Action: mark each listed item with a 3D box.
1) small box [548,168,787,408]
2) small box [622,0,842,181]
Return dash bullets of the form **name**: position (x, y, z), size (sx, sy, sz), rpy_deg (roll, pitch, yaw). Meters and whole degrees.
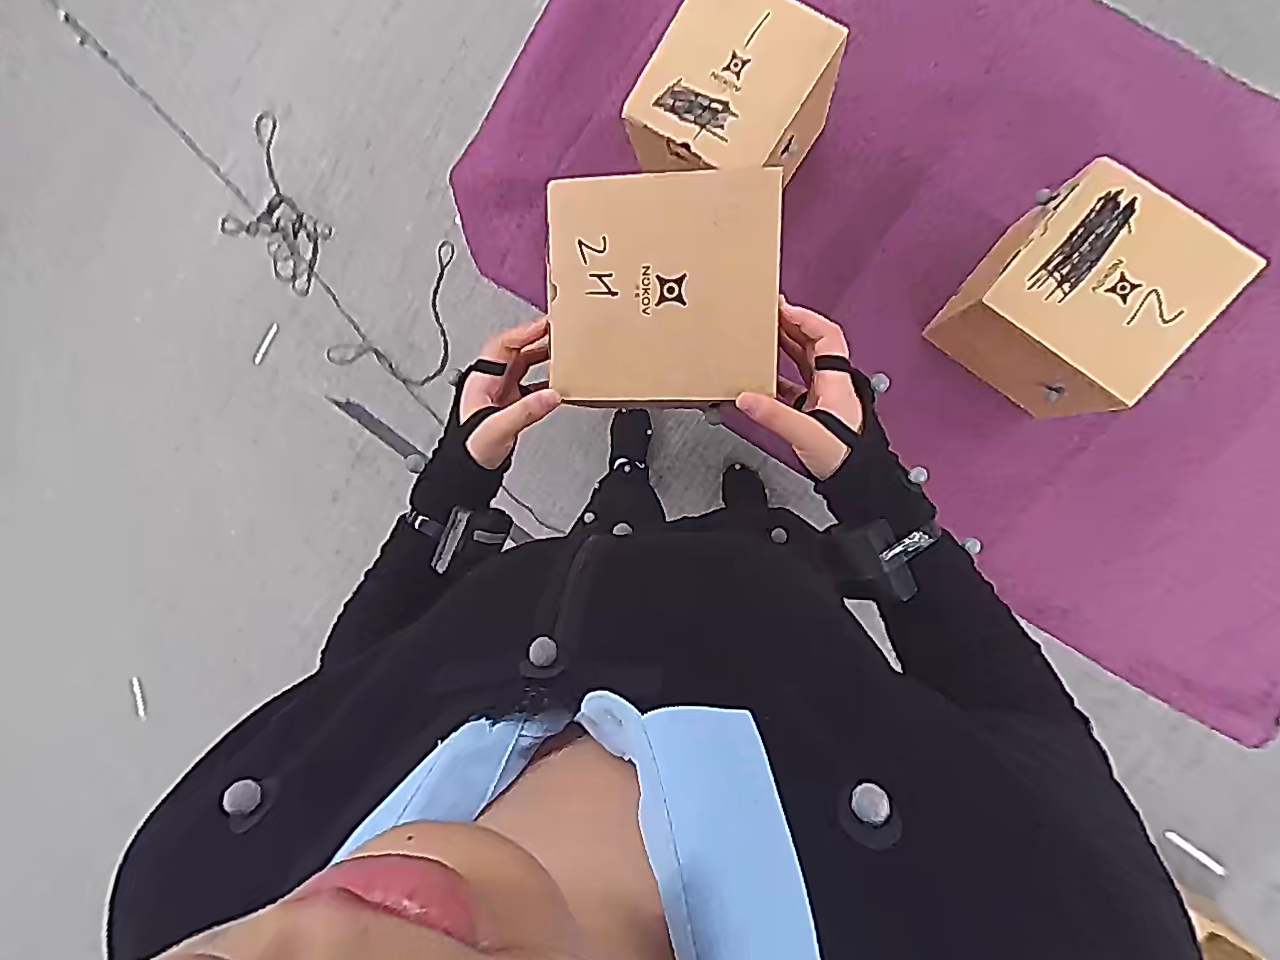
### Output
- **small box**: position (0.027, -0.152, 0.481), size (0.179, 0.176, 0.168), rpy_deg (2, 95, 8)
- **small box**: position (0.106, -0.421, 0.636), size (0.168, 0.176, 0.179), rpy_deg (35, 98, 6)
